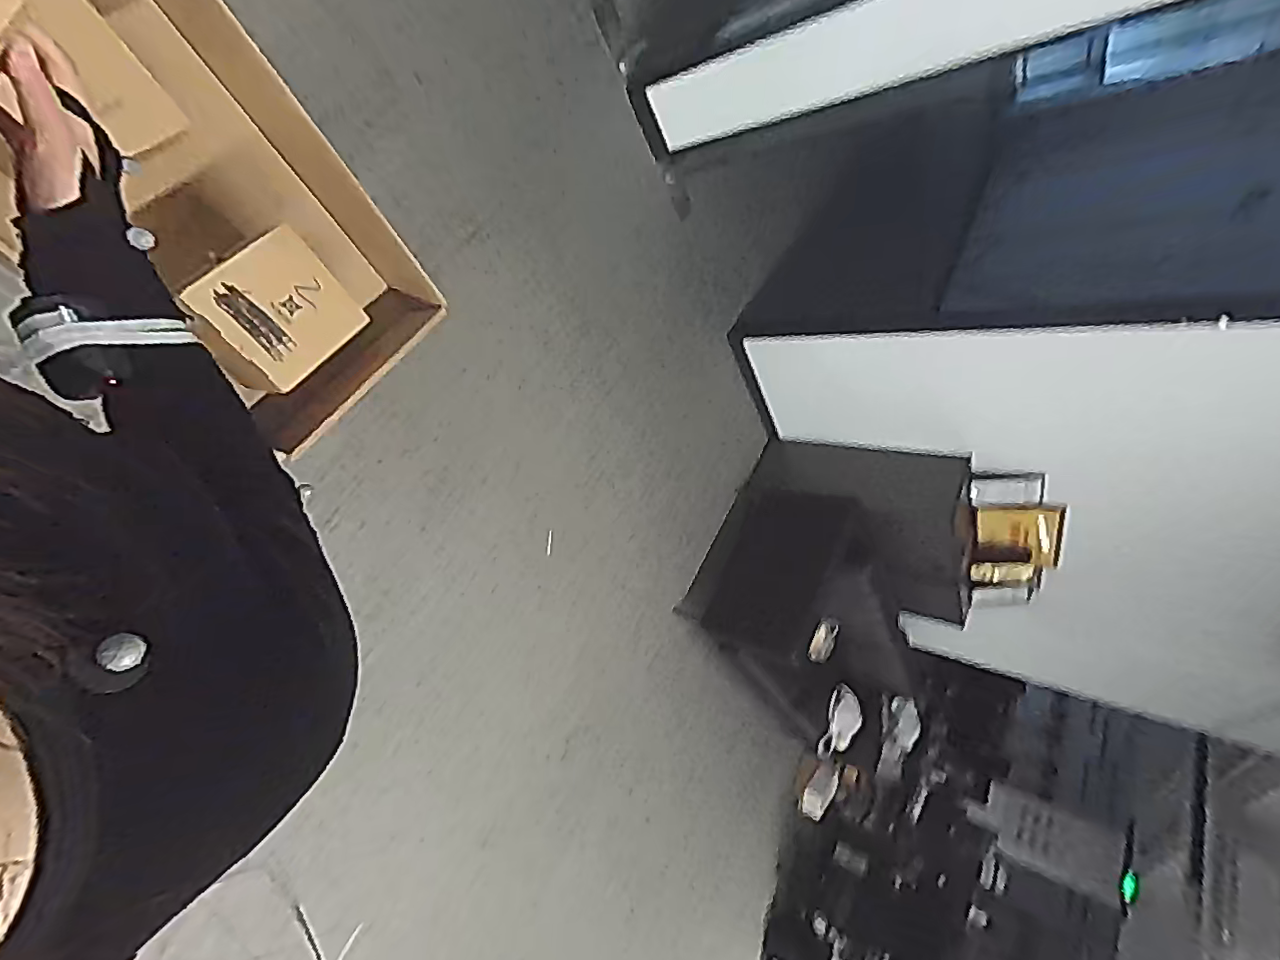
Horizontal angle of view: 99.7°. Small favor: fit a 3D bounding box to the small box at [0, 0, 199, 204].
[{"bbox_3d":[-0.675,-0.449,0.621,0.168,0.176,0.179,-55,136,-26],"label":"small box"}]
